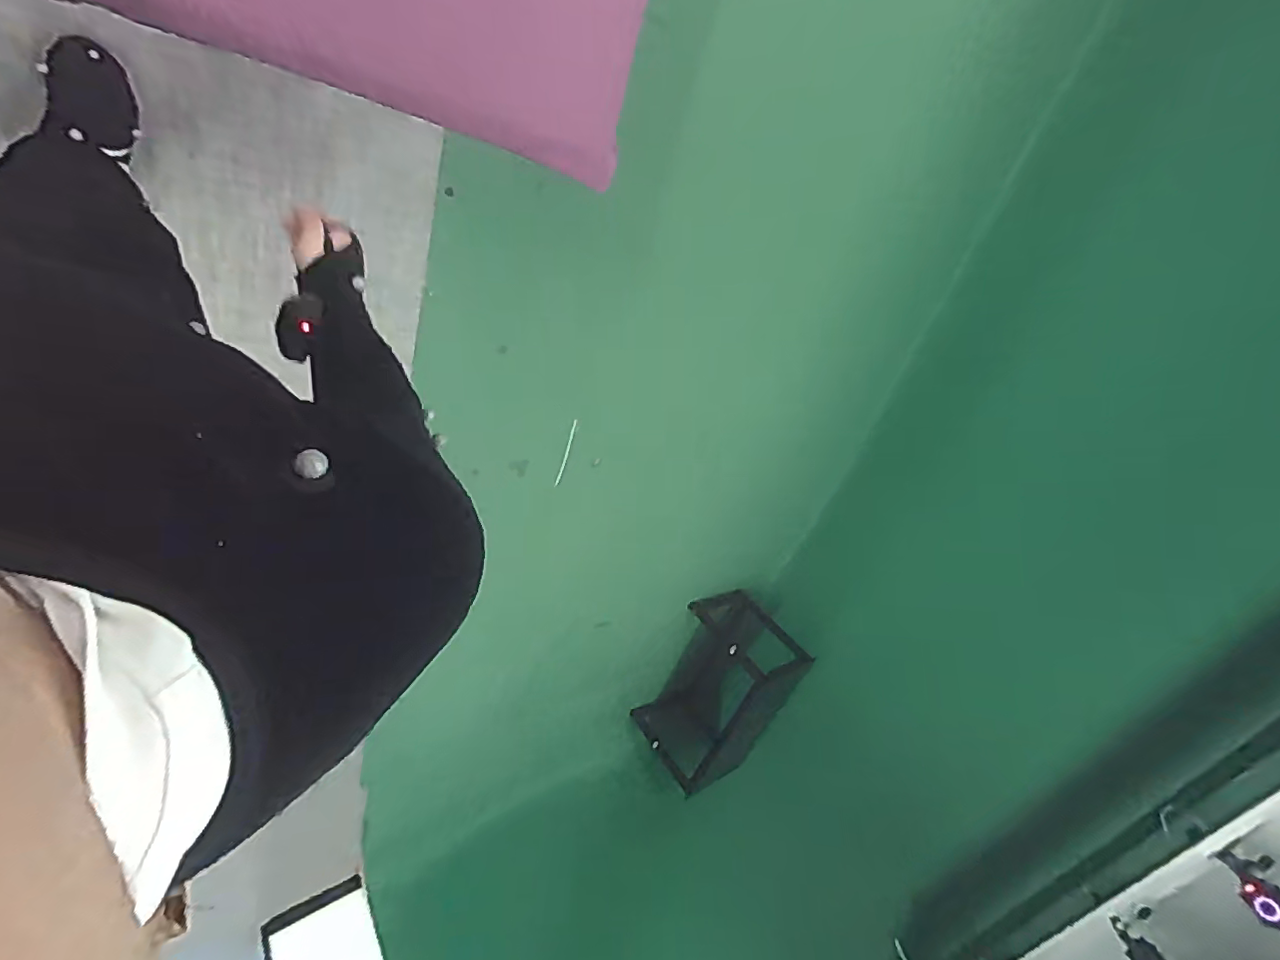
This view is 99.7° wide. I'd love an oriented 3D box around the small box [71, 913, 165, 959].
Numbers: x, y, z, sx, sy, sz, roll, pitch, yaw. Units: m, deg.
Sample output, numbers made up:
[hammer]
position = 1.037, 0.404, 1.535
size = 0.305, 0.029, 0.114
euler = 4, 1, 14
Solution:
[small box]
position = -1.384, 1.308, 1.437
size = 0.168, 0.176, 0.179
euler = -9, 128, -38
